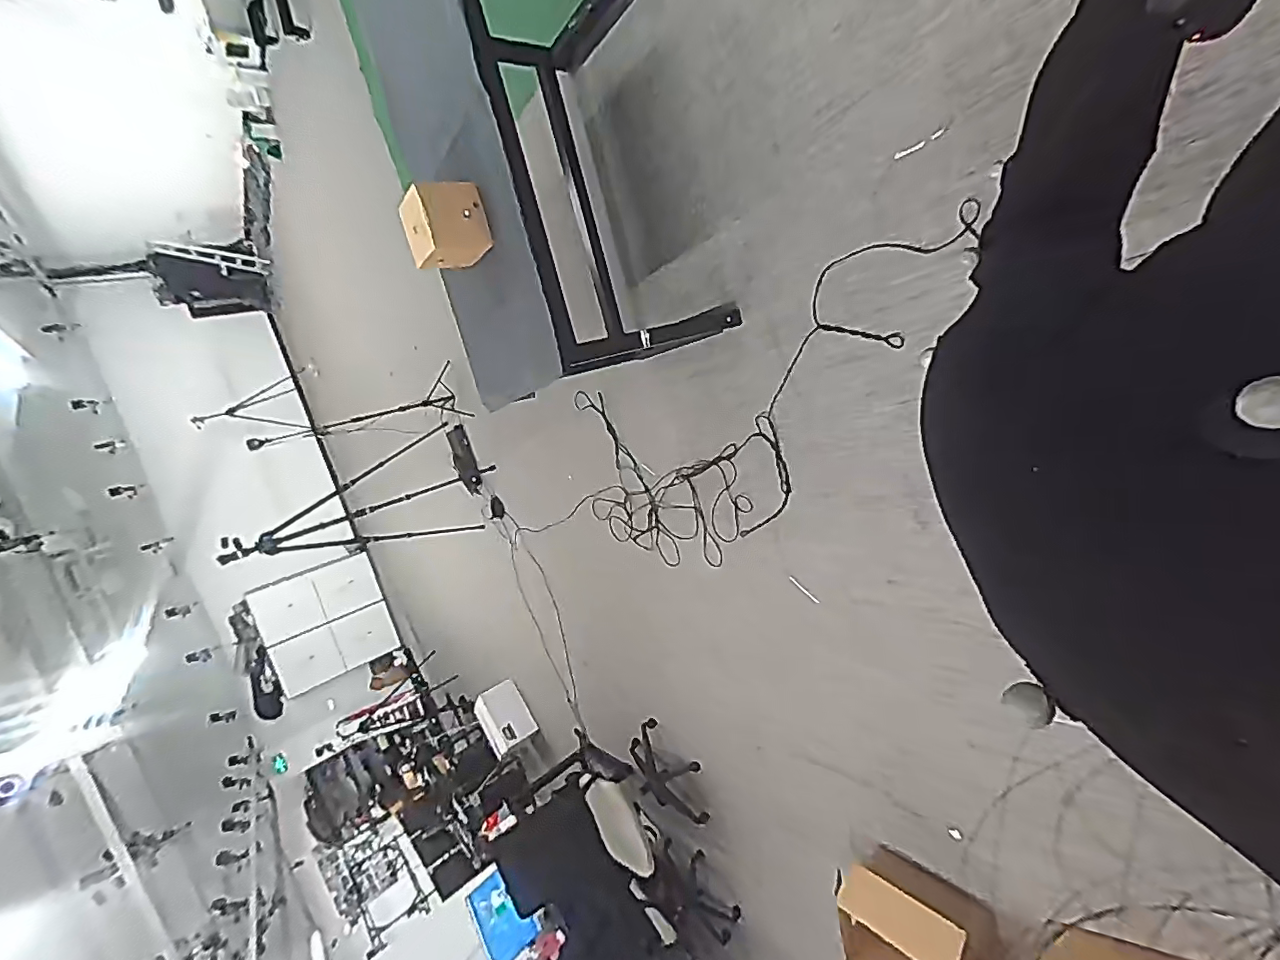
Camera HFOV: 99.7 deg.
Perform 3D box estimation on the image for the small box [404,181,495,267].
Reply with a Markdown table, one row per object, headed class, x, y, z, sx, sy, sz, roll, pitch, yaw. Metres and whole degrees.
| class | x | y | z | sx | sy | sz | roll | pitch | yaw |
| --- | --- | --- | --- | --- | --- | --- | --- | --- | --- |
| small box | -0.523 | -0.702 | 1.490 | 0.179 | 0.176 | 0.168 | -2 | 107 | 53 |
